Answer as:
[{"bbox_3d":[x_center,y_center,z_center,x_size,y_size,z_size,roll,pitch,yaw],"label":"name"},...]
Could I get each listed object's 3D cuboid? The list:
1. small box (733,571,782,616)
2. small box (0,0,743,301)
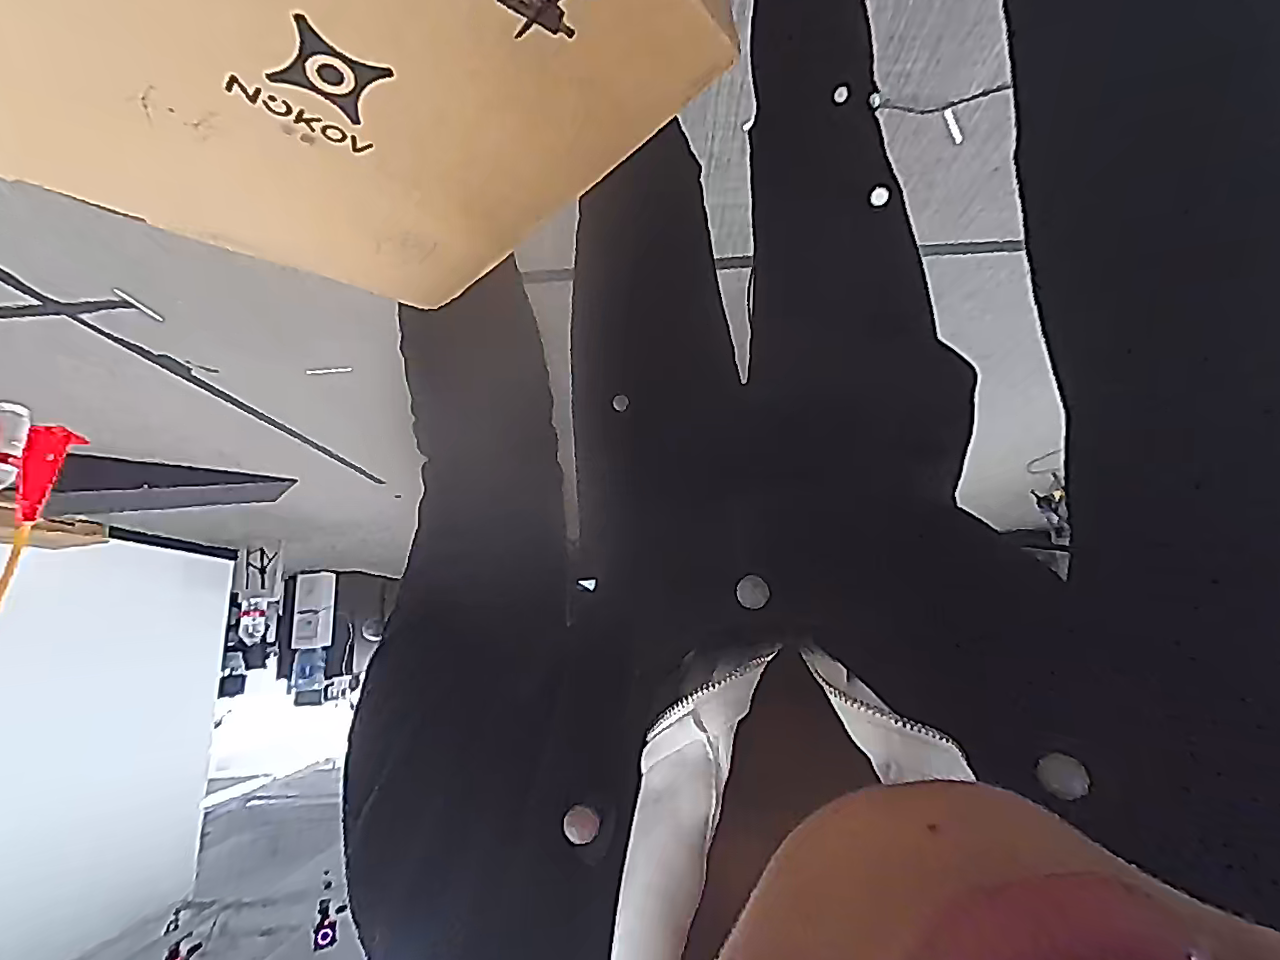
[{"bbox_3d":[0.492,0.480,2.284,0.168,0.176,0.179,-5,164,1],"label":"small box"},{"bbox_3d":[-0.094,-0.183,0.152,0.179,0.176,0.168,-15,169,38],"label":"small box"}]
